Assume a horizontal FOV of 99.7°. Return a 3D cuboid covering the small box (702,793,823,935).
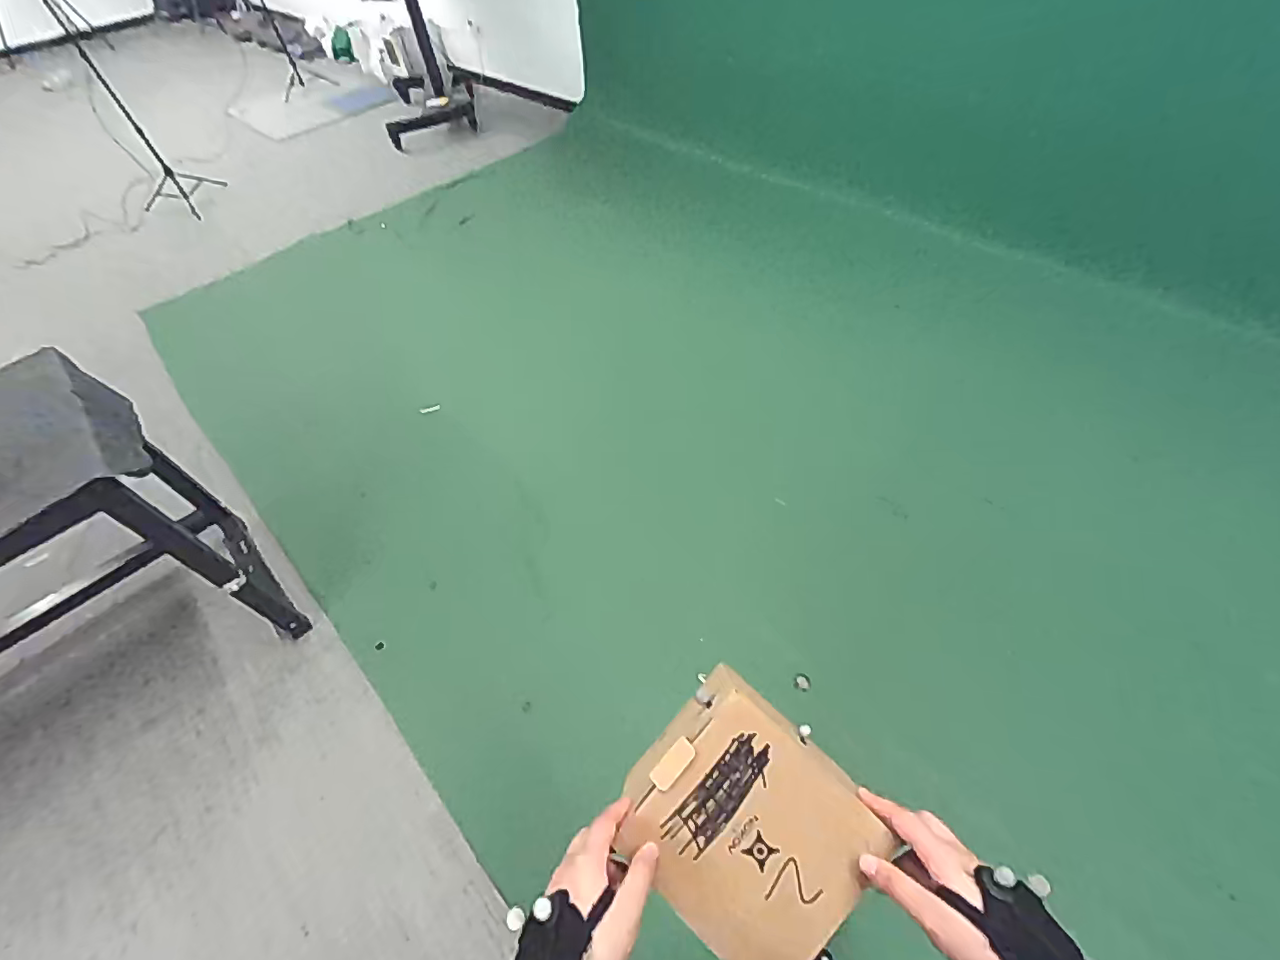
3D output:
[{"bbox_3d":[0.245,0.792,1.119,0.179,0.176,0.168,-32,56,-19],"label":"small box"}]
